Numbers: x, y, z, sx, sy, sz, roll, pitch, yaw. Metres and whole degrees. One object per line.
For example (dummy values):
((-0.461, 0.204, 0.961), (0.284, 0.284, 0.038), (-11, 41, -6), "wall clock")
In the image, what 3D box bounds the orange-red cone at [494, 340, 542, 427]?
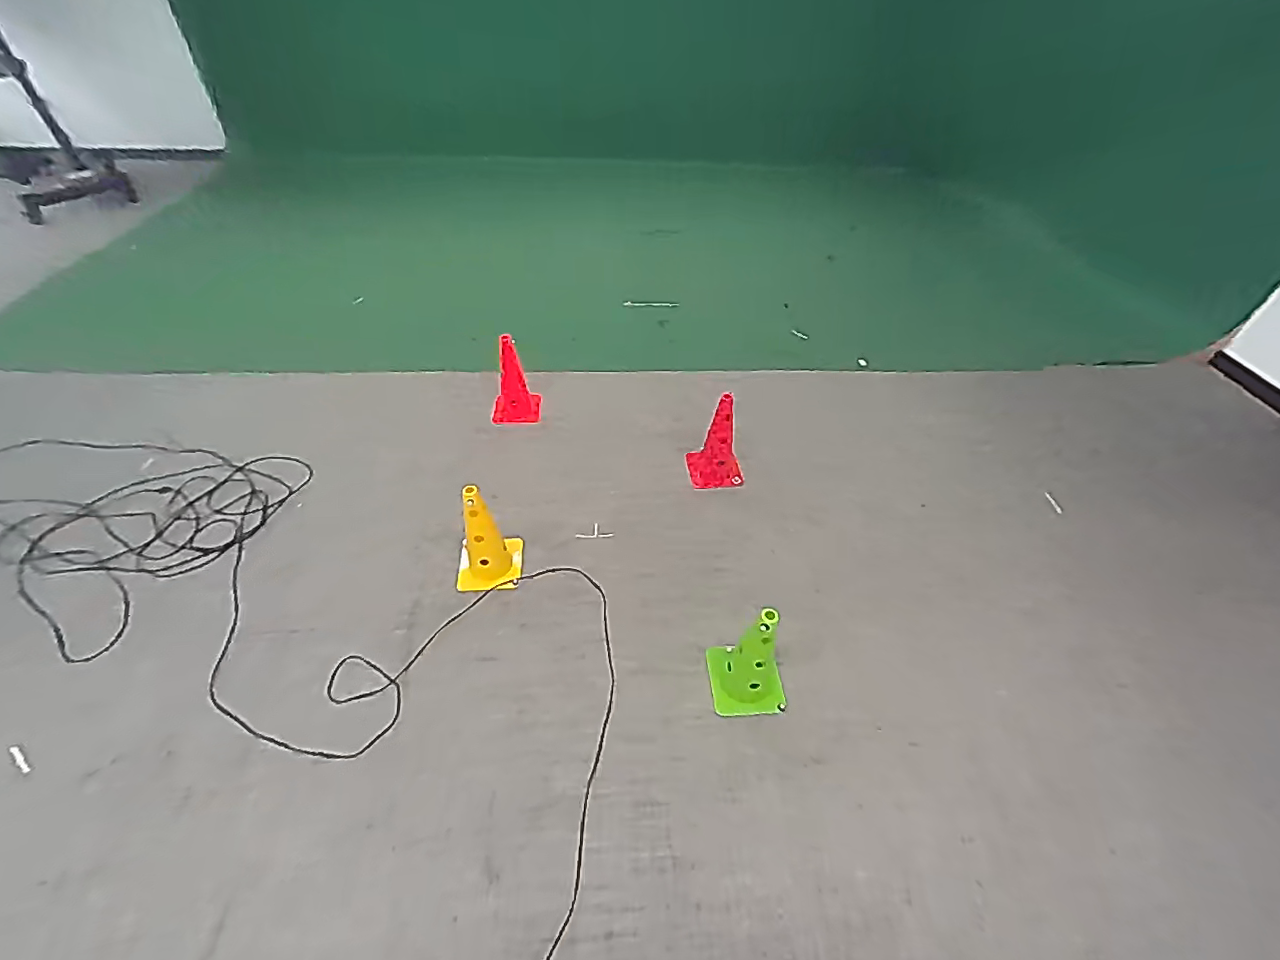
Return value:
((-0.529, -0.412, 2.235), (0.198, 0.360, 0.199), (-1, 46, -2), "orange-red cone")

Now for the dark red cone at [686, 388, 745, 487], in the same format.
((0.295, -0.168, 1.991), (0.202, 0.394, 0.201), (-5, 44, -7), "dark red cone")

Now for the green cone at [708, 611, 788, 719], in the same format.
((0.303, 0.450, 1.411), (0.202, 0.368, 0.200), (-3, 45, -3), "green cone")
